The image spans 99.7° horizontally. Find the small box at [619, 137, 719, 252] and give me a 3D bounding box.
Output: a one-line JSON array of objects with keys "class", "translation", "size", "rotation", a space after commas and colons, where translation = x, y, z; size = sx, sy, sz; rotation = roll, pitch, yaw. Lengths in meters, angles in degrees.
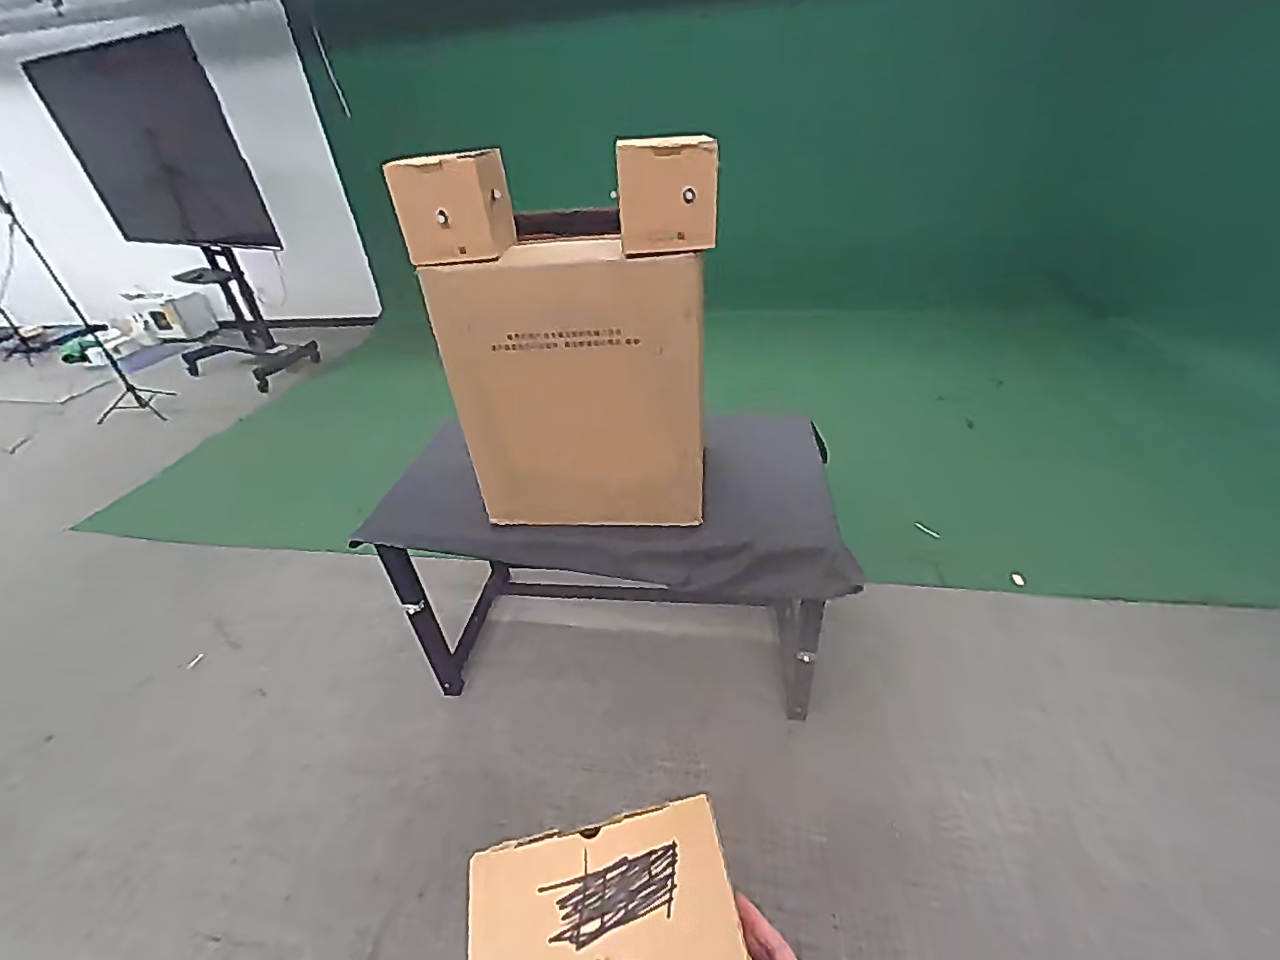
[{"class": "small box", "translation": [0.051, -0.516, 0.981], "size": [0.168, 0.176, 0.179], "rotation": [-2, 34, 0]}]

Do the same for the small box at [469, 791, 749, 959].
[{"class": "small box", "translation": [-0.007, 0.345, 0.366], "size": [0.168, 0.176, 0.179], "rotation": [-15, 47, -1]}]

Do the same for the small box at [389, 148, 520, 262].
[{"class": "small box", "translation": [-0.342, -0.524, 1.039], "size": [0.168, 0.176, 0.179], "rotation": [-2, 35, 5]}]
